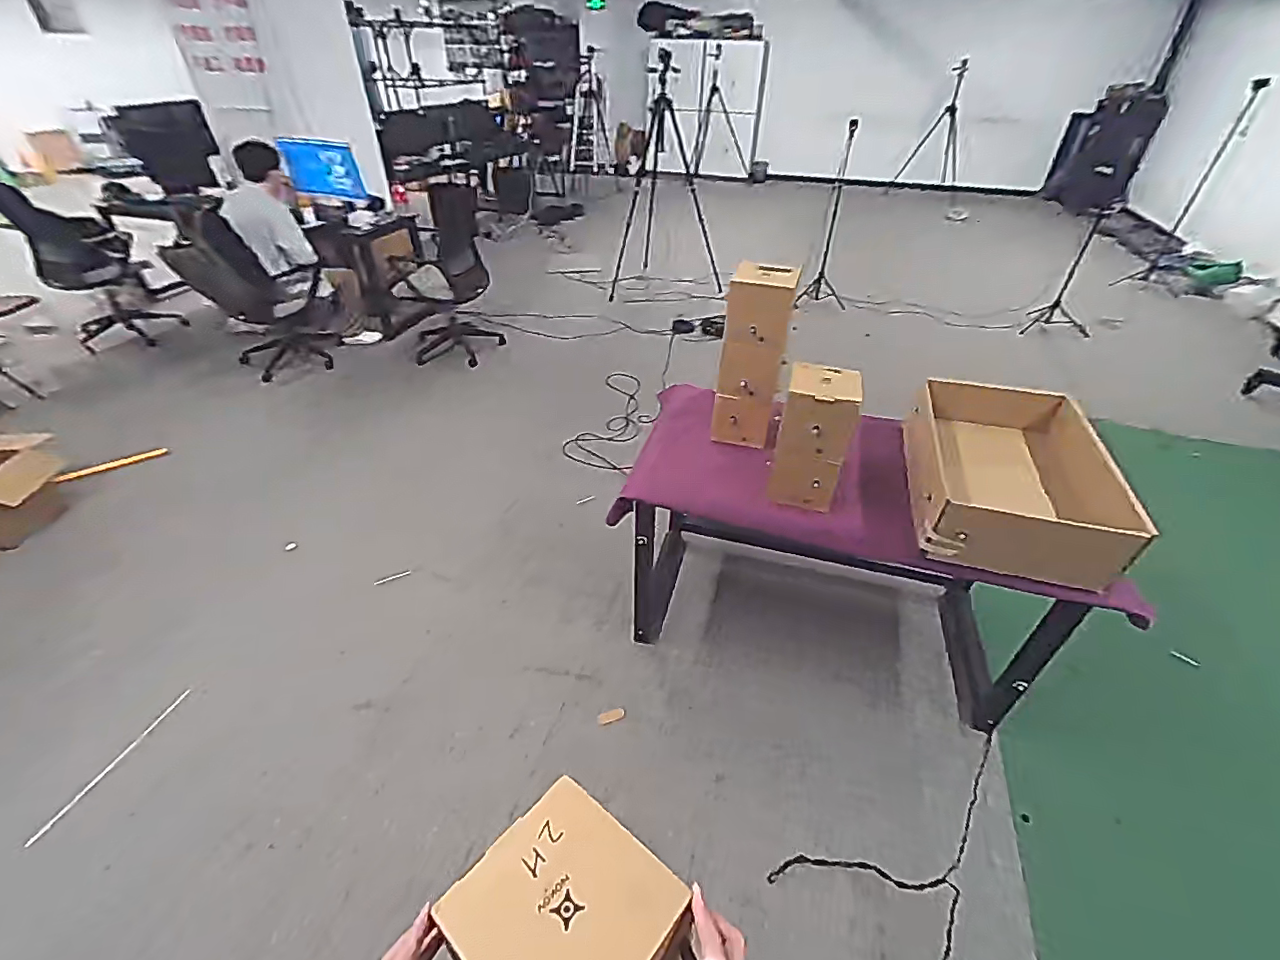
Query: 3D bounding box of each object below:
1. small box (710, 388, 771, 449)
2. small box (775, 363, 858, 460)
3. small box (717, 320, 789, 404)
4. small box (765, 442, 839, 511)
[{"bbox_3d":[0.316,-0.216,1.682,0.168,0.176,0.179,10,38,12],"label":"small box"},{"bbox_3d":[0.442,-0.171,1.359,0.168,0.176,0.179,12,39,12],"label":"small box"},{"bbox_3d":[0.327,-0.346,1.581,0.168,0.176,0.179,13,40,15],"label":"small box"},{"bbox_3d":[0.437,-0.039,1.456,0.168,0.176,0.179,12,38,13],"label":"small box"}]
